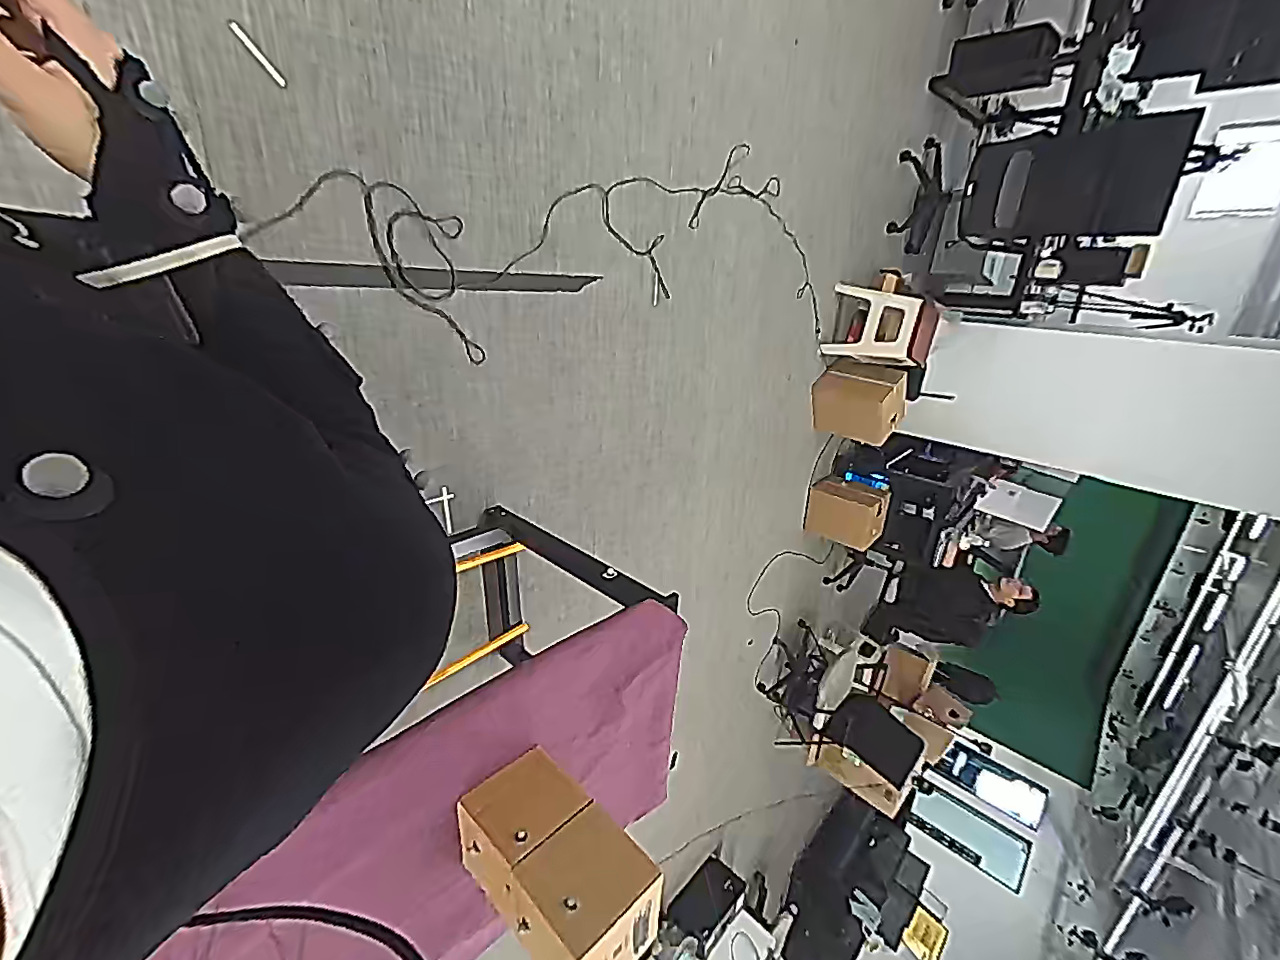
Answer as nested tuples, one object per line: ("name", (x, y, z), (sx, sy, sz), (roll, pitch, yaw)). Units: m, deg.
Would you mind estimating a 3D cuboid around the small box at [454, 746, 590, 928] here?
("small box", (-0.211, 0.626, 0.975), (0.179, 0.176, 0.168), (-18, 120, -43))
